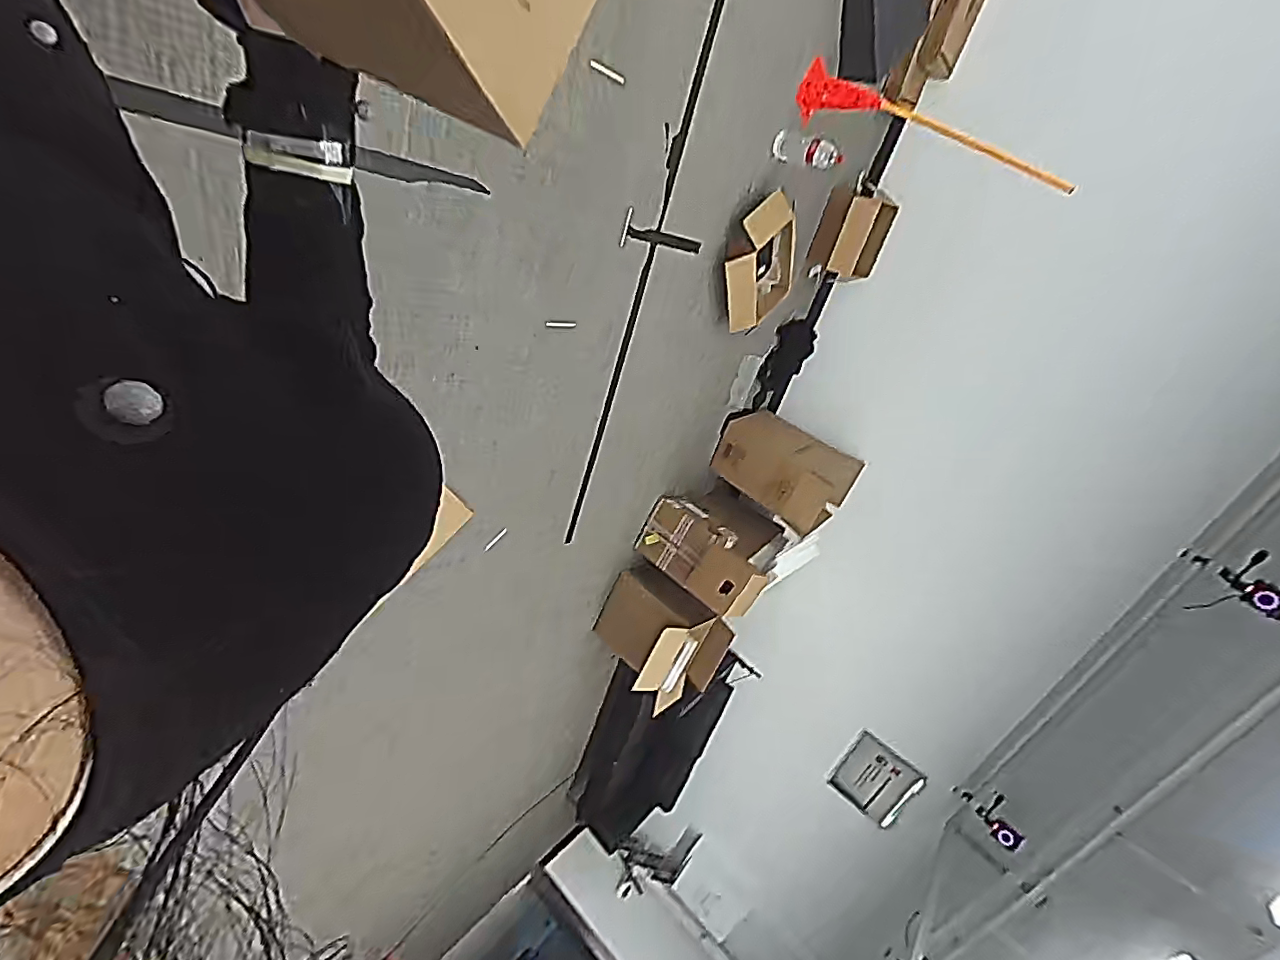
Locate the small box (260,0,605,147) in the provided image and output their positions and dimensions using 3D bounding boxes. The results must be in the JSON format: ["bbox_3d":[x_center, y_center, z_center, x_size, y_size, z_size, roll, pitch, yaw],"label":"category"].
[{"bbox_3d":[-0.107,-0.302,0.234,0.179,0.176,0.168,-62,172,7],"label":"small box"}]

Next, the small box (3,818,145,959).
[{"bbox_3d":[-1.138,0.829,1.092,0.168,0.176,0.179,-15,131,-50],"label":"small box"}]

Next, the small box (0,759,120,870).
[{"bbox_3d":[-1.254,0.739,1.164,0.168,0.176,0.179,-11,130,-53],"label":"small box"}]
